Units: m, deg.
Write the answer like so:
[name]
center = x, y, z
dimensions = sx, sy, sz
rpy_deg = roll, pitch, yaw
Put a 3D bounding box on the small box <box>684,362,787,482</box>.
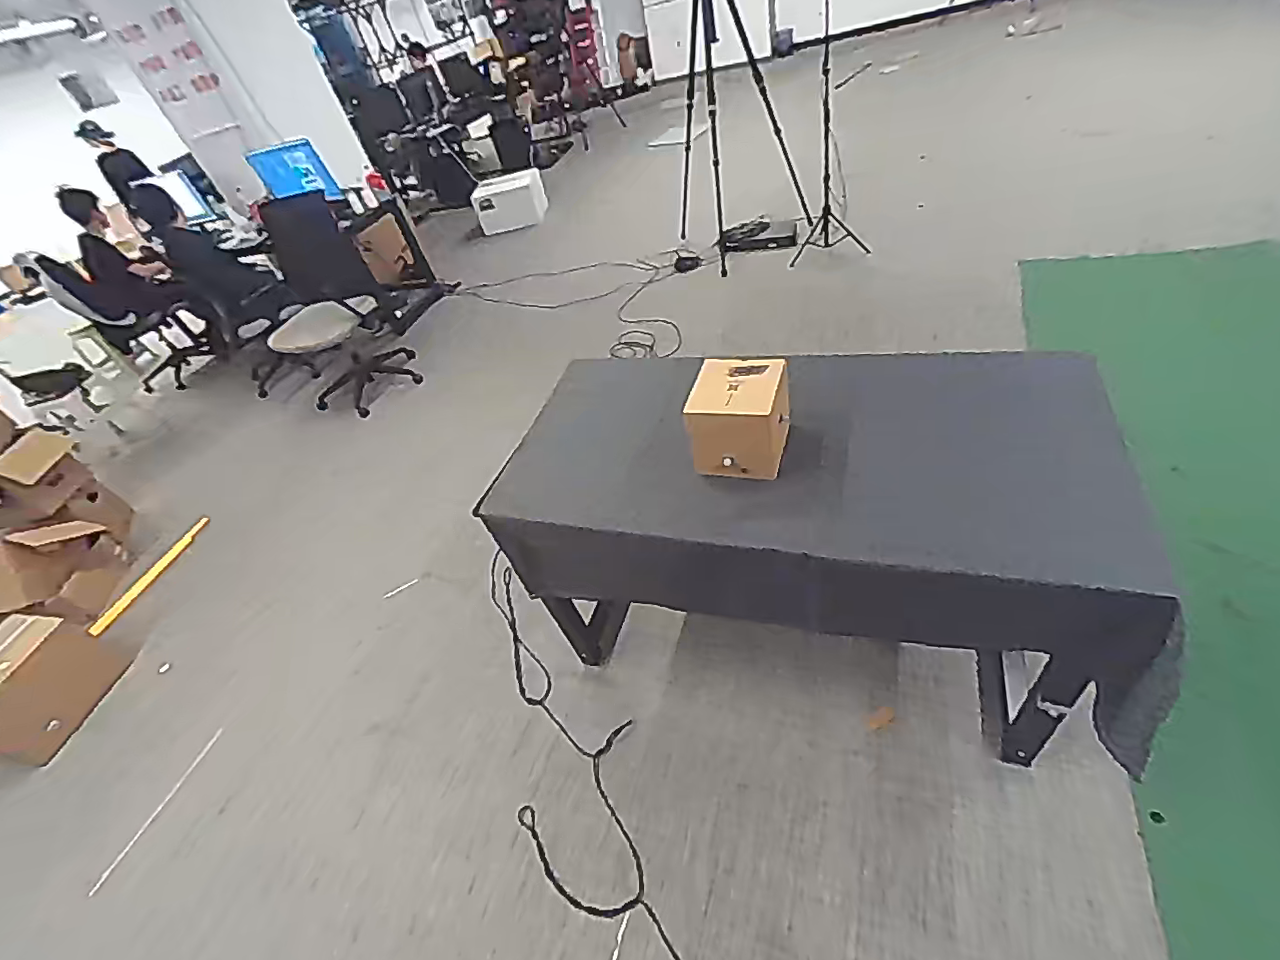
[small box]
center = 0.202, -0.120, 1.094
dimensions = 0.168, 0.176, 0.179
rpy_deg = 5, 47, 24
